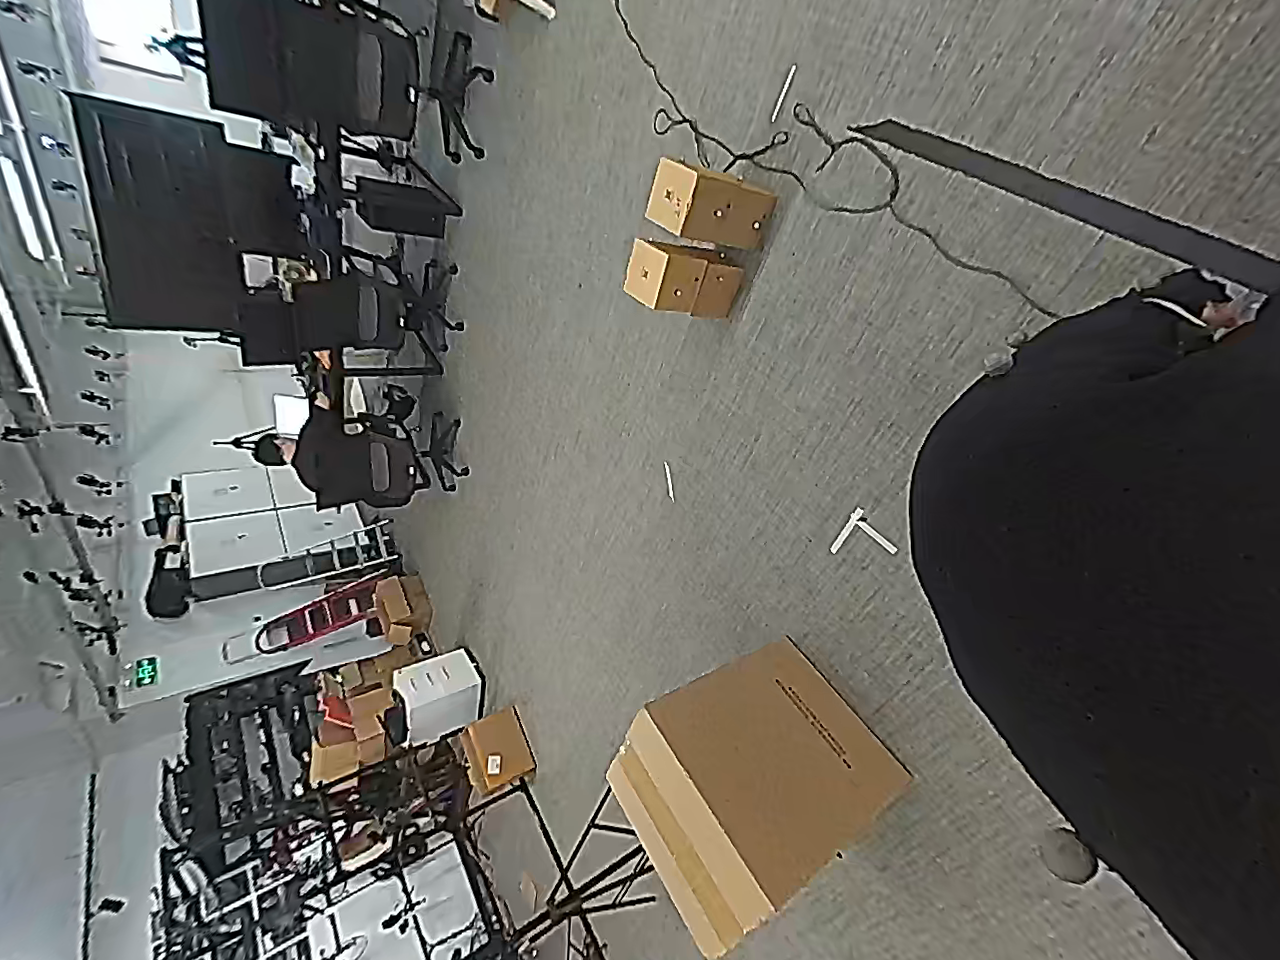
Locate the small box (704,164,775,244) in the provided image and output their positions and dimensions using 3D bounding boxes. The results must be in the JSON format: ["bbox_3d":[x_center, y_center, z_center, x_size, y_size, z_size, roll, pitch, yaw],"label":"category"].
[{"bbox_3d":[0.273,-0.836,1.652,0.179,0.176,0.168,49,134,33],"label":"small box"}]

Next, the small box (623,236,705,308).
[{"bbox_3d":[0.076,-0.646,1.686,0.179,0.176,0.168,46,132,38],"label":"small box"}]

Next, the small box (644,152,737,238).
[{"bbox_3d":[0.144,-0.812,1.551,0.179,0.176,0.168,47,133,34],"label":"small box"}]
